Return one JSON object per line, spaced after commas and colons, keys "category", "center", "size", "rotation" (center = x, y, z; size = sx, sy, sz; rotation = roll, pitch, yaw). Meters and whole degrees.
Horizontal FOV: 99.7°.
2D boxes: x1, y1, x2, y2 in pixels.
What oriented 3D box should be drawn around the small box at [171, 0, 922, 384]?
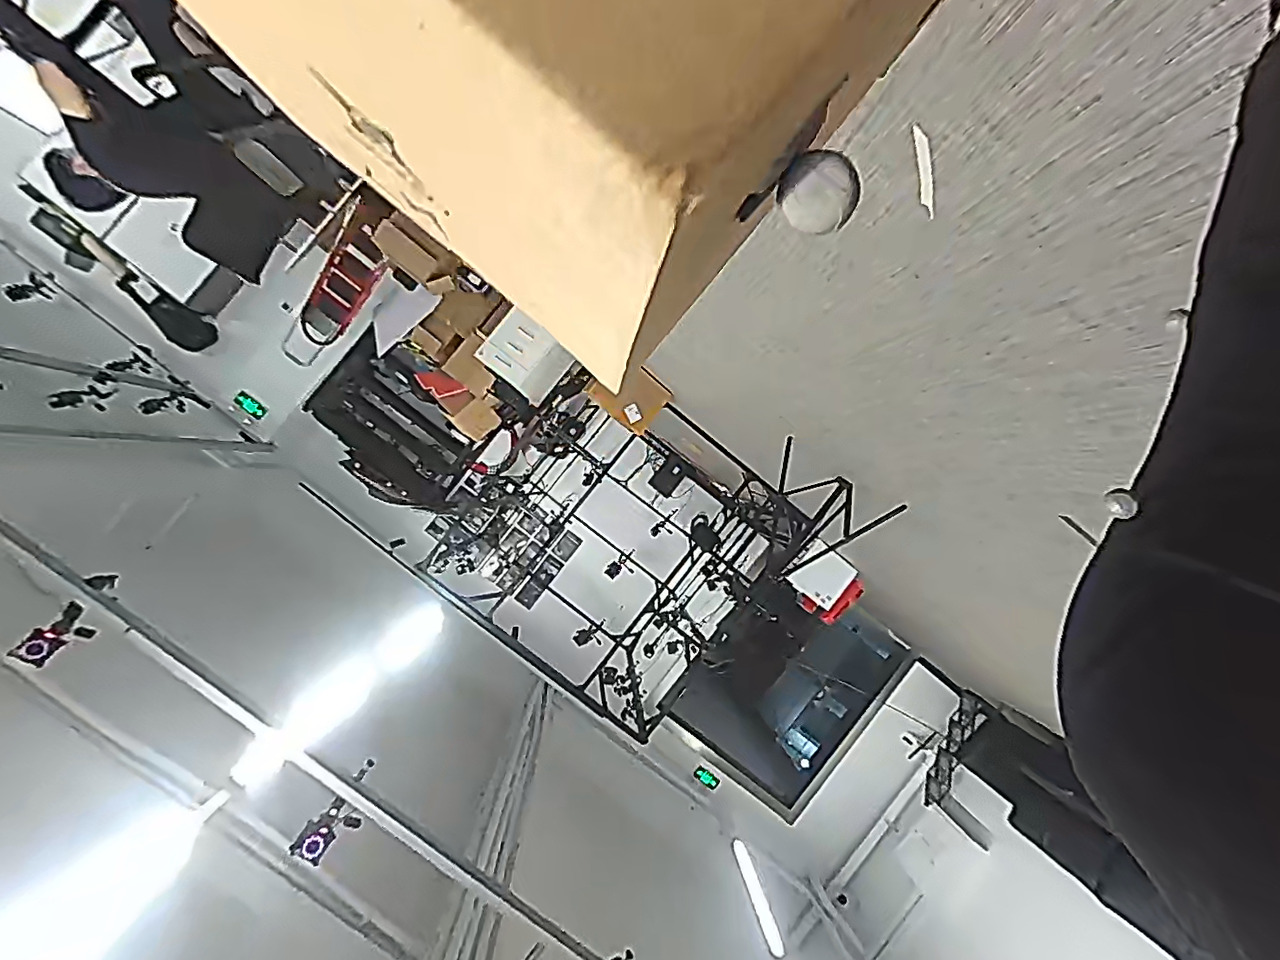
{"category": "small box", "center": [-0.016, -0.151, 0.142], "size": [0.168, 0.176, 0.179], "rotation": [40, 180, -5]}
